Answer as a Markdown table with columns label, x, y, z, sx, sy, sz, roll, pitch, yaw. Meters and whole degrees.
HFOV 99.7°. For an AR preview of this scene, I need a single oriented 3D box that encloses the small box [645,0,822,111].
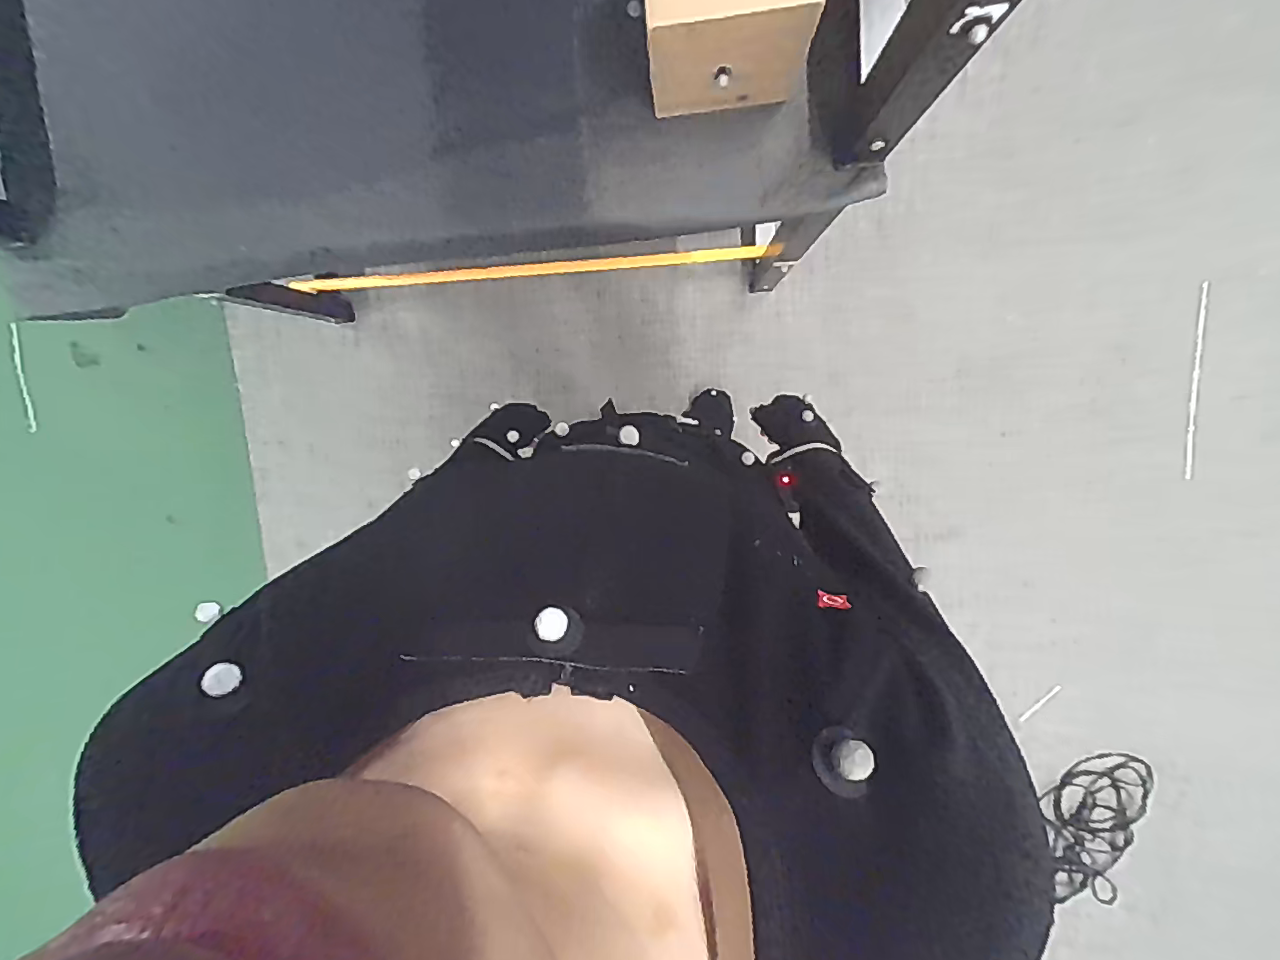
| label | x | y | z | sx | sy | sz | roll | pitch | yaw |
| --- | --- | --- | --- | --- | --- | --- | --- | --- | --- |
| small box | 0.088 | -0.523 | 0.571 | 0.168 | 0.176 | 0.179 | -4 | 98 | 5 |
